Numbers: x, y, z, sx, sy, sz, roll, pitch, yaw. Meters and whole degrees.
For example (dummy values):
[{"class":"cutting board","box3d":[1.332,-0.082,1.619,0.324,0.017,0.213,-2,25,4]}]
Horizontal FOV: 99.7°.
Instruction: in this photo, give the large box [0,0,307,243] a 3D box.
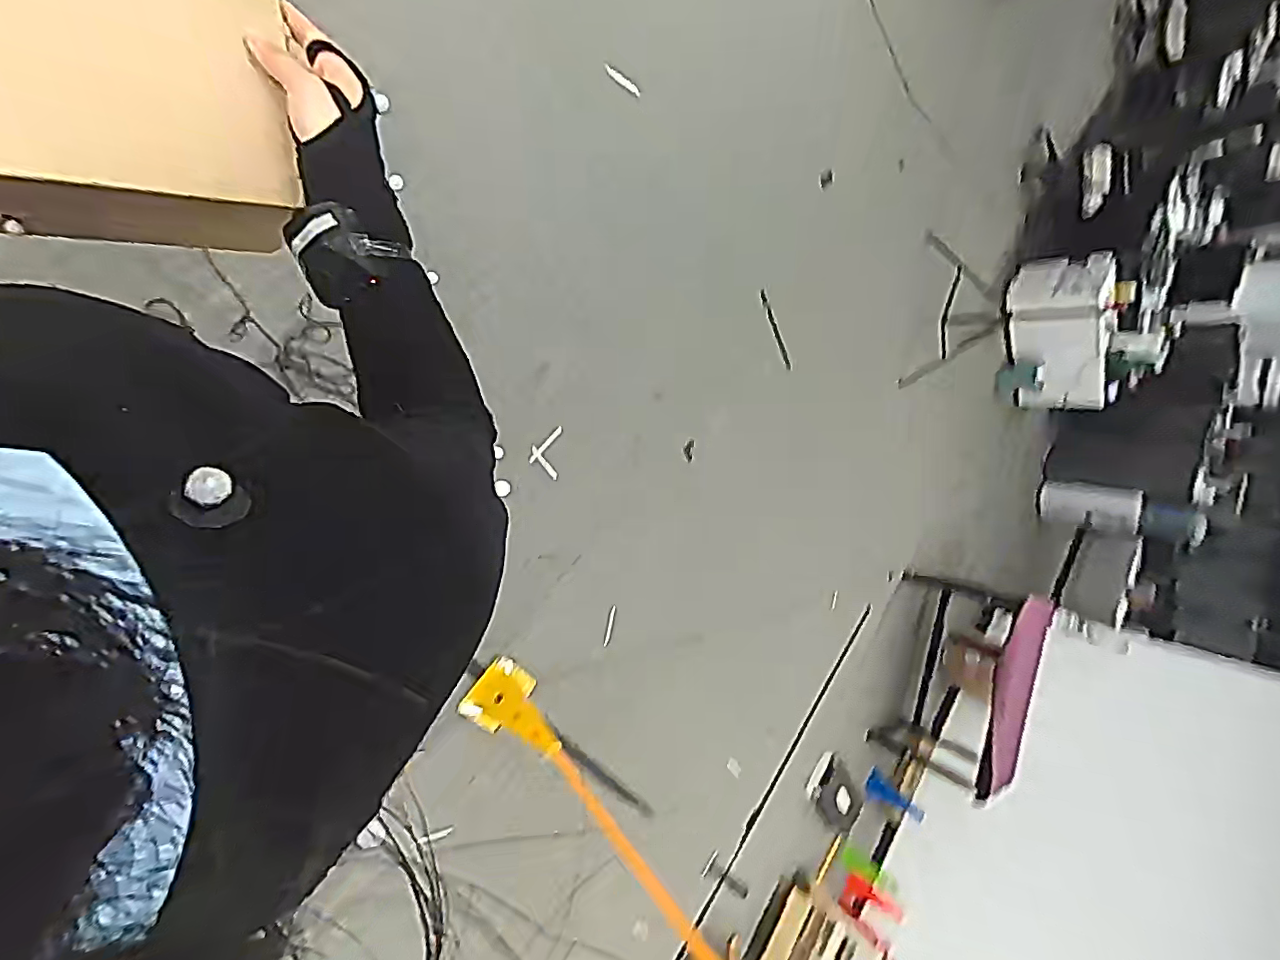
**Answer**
[{"class":"large box","box3d":[-0.529,-0.378,0.418,0.408,0.320,0.320,-11,108,-36]}]
